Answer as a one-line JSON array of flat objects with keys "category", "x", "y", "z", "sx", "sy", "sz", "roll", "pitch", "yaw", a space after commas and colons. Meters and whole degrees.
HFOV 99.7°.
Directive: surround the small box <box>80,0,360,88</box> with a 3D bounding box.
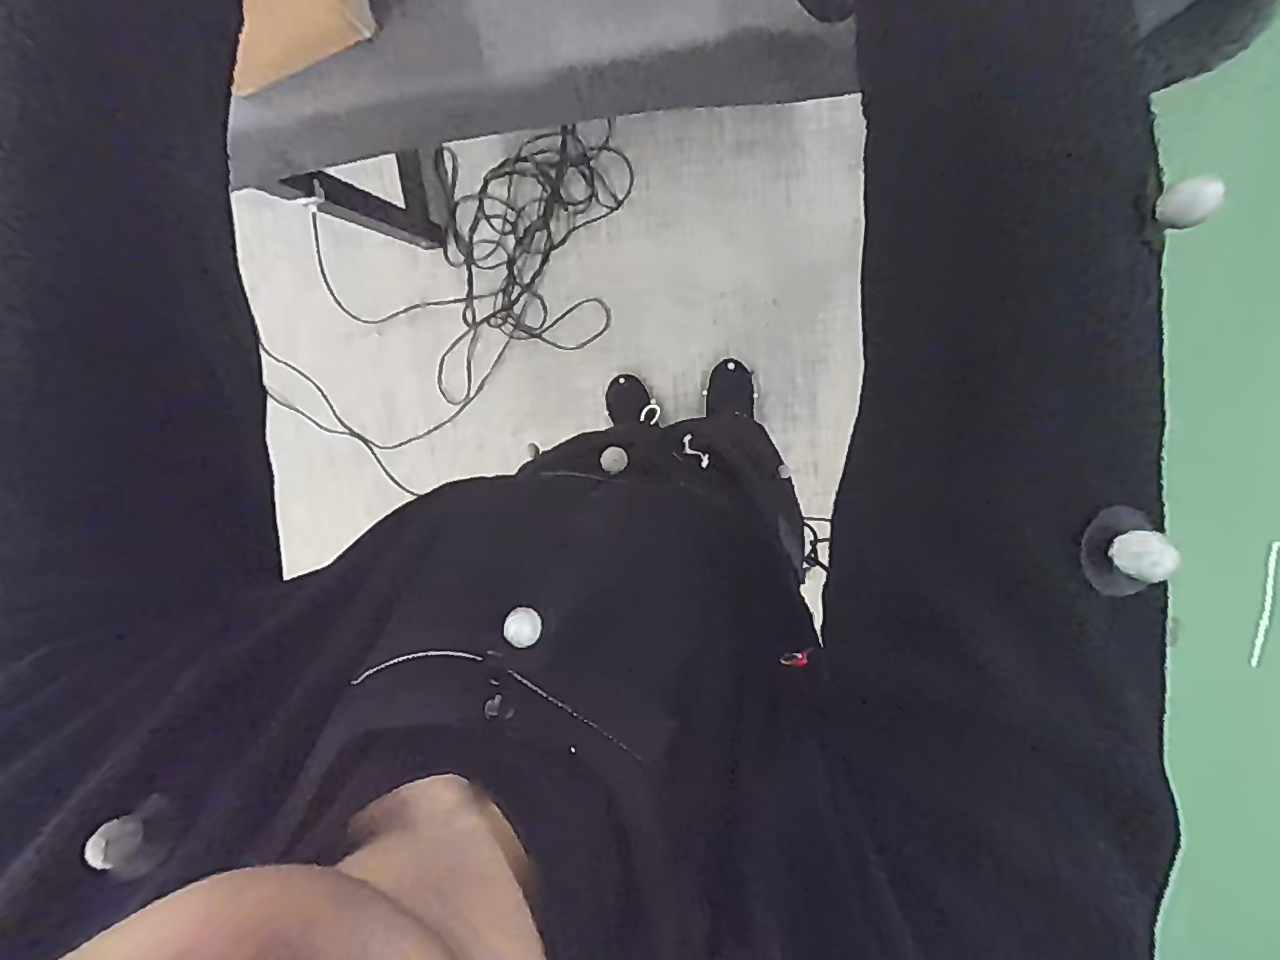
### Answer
[{"category": "small box", "x": -0.380, "y": -0.494, "z": 0.473, "sx": 0.179, "sy": 0.176, "sz": 0.168, "roll": -15, "pitch": 99, "yaw": 10}]
